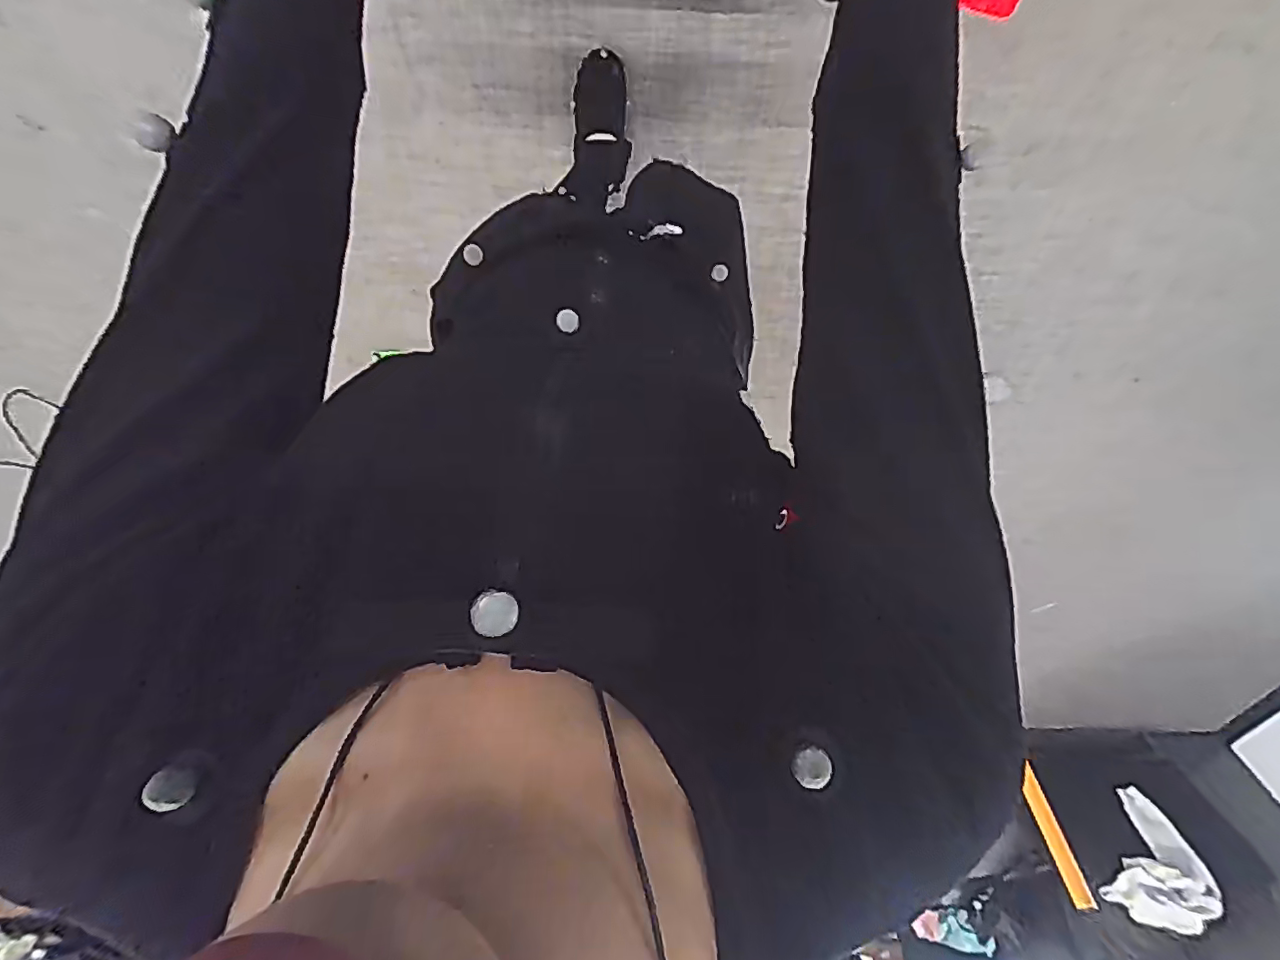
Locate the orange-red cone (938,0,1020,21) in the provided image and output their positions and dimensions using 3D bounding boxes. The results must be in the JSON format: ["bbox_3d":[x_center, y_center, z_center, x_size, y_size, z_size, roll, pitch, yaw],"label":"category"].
[{"bbox_3d":[0.654,-0.882,0.858,0.198,0.360,0.199,10,128,-9],"label":"orange-red cone"}]
